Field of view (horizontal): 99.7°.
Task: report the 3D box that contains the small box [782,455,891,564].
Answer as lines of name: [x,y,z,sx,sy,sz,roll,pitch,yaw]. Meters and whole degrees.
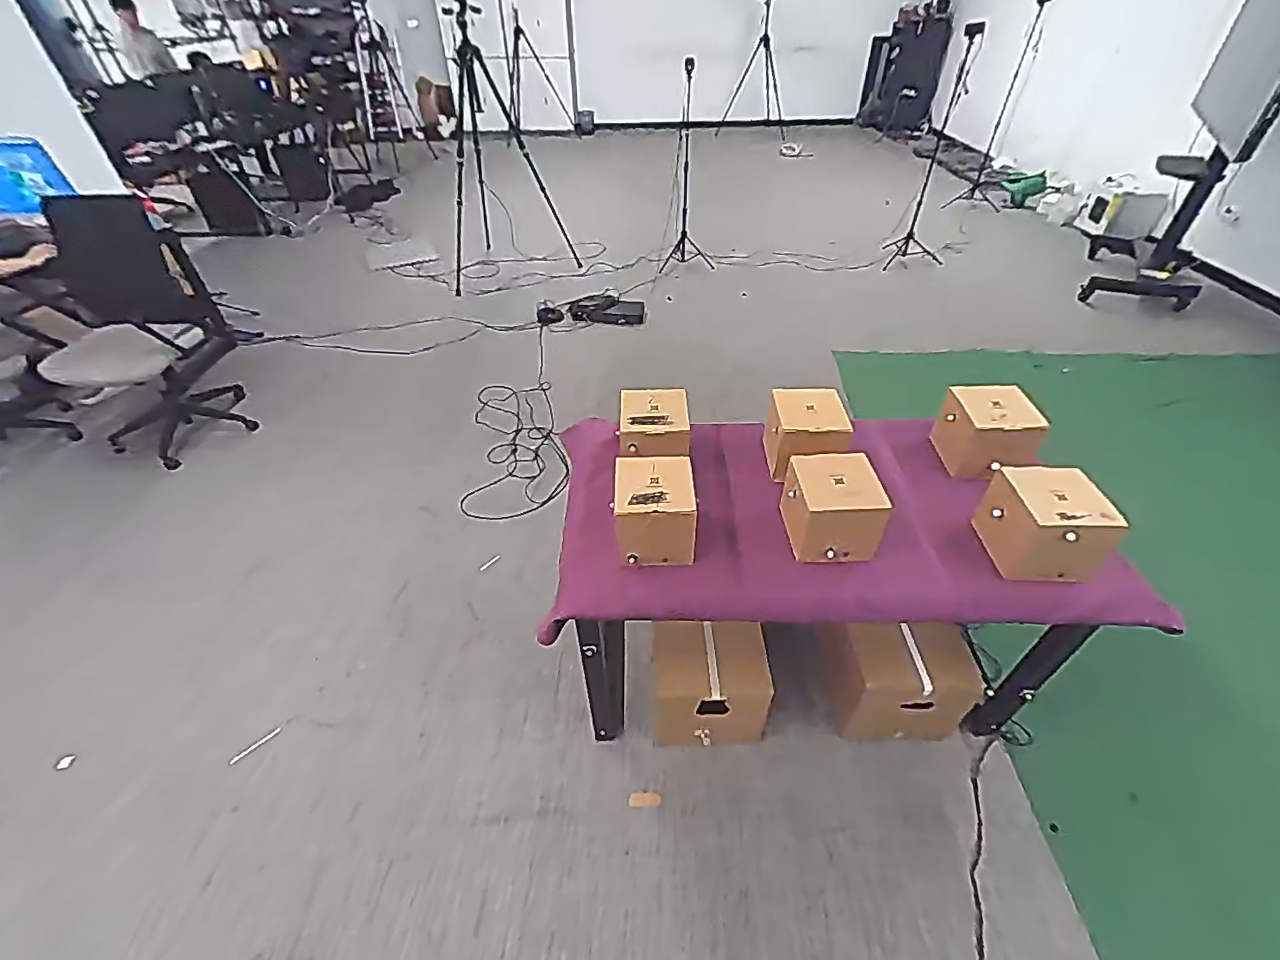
small box: [0.417,0.063,1.181,0.168,0.176,0.179,-2,41,1]

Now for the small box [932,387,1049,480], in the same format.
small box: [0.867,-0.117,1.361,0.168,0.176,0.179,-1,43,4]

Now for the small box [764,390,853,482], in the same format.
small box: [0.419,-0.110,1.376,0.168,0.176,0.179,0,43,1]

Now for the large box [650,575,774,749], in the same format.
large box: [0.194,0.546,1.640,0.320,0.320,0.408,-1,41,-1]

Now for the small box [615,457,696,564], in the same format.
small box: [0.033,0.070,1.182,0.168,0.176,0.179,-1,40,0]

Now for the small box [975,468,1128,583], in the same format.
small box: [0.840,0.093,1.129,0.168,0.176,0.179,0,39,4]
